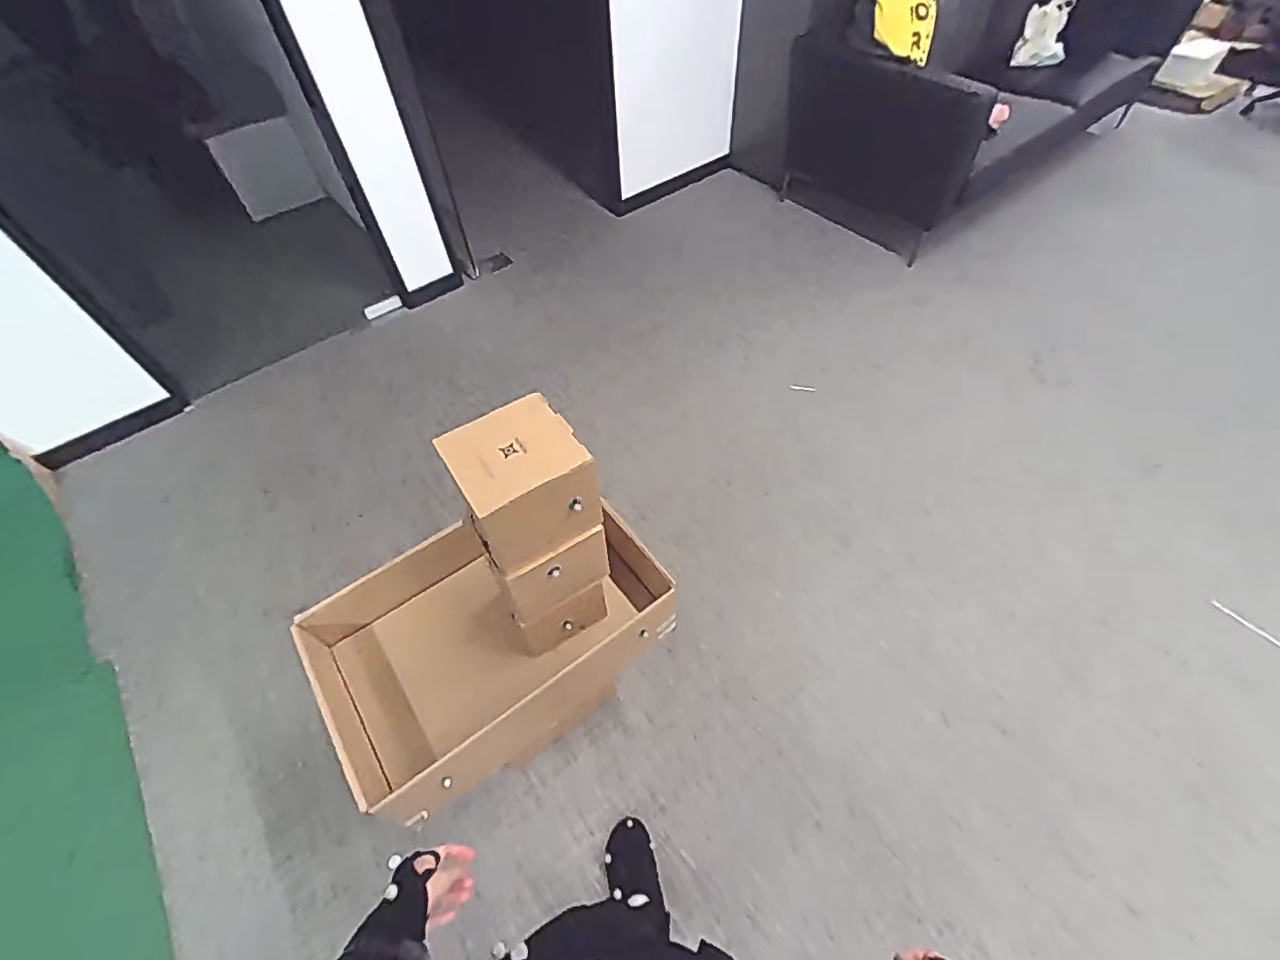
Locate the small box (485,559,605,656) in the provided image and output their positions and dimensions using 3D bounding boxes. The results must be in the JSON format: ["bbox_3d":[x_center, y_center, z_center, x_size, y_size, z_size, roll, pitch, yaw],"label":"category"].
[{"bbox_3d":[-0.181,0.225,1.071,0.168,0.176,0.179,-27,56,-18],"label":"small box"}]

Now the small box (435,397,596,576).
[{"bbox_3d":[-0.178,0.012,0.823,0.179,0.176,0.168,-29,56,-19],"label":"small box"}]

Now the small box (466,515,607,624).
[{"bbox_3d":[-0.173,0.120,0.945,0.179,0.176,0.168,-28,57,-19],"label":"small box"}]
